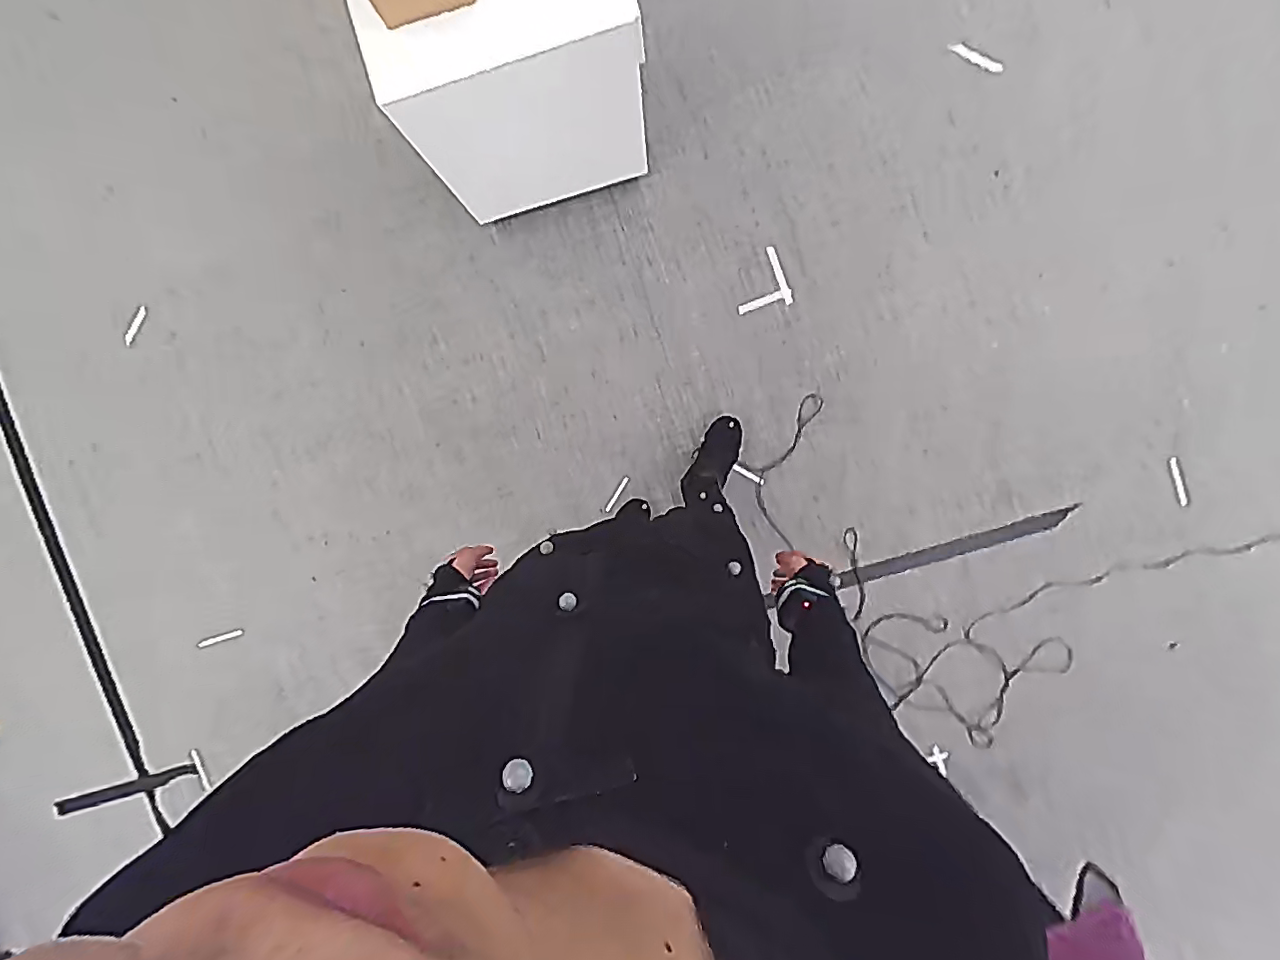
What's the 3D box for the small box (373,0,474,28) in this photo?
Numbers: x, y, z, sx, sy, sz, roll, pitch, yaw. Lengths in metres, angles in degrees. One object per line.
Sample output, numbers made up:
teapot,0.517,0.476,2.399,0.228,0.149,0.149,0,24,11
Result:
small box,-0.403,-0.926,0.918,0.179,0.176,0.168,-14,93,3
